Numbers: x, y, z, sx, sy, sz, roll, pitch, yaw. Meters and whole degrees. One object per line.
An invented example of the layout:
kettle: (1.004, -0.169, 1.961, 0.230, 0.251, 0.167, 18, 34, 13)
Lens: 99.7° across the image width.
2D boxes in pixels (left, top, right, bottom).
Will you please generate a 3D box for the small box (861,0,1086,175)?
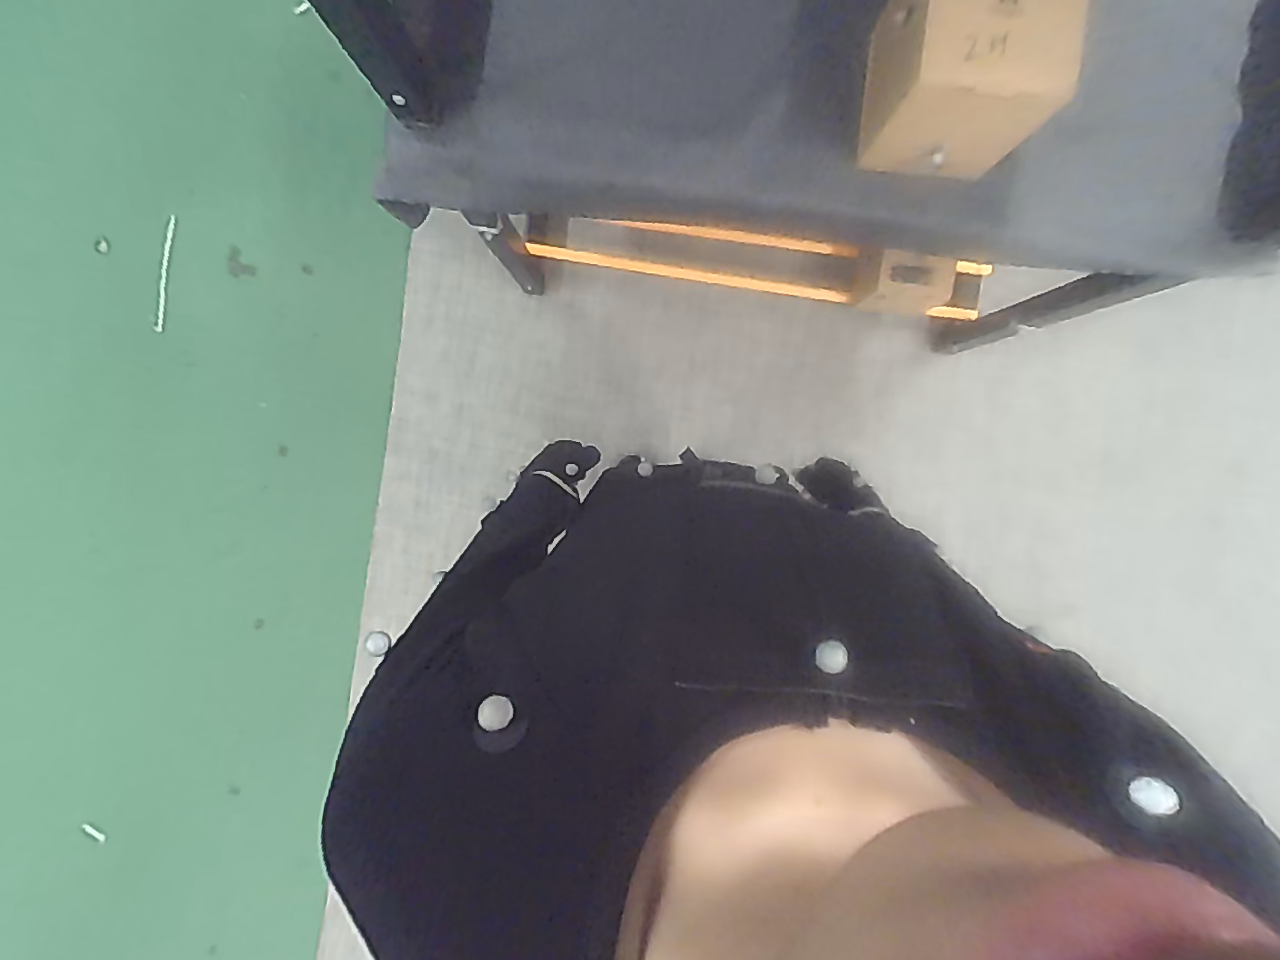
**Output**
small box: (0.382, -0.502, 0.644, 0.168, 0.176, 0.179, 6, 92, 1)
